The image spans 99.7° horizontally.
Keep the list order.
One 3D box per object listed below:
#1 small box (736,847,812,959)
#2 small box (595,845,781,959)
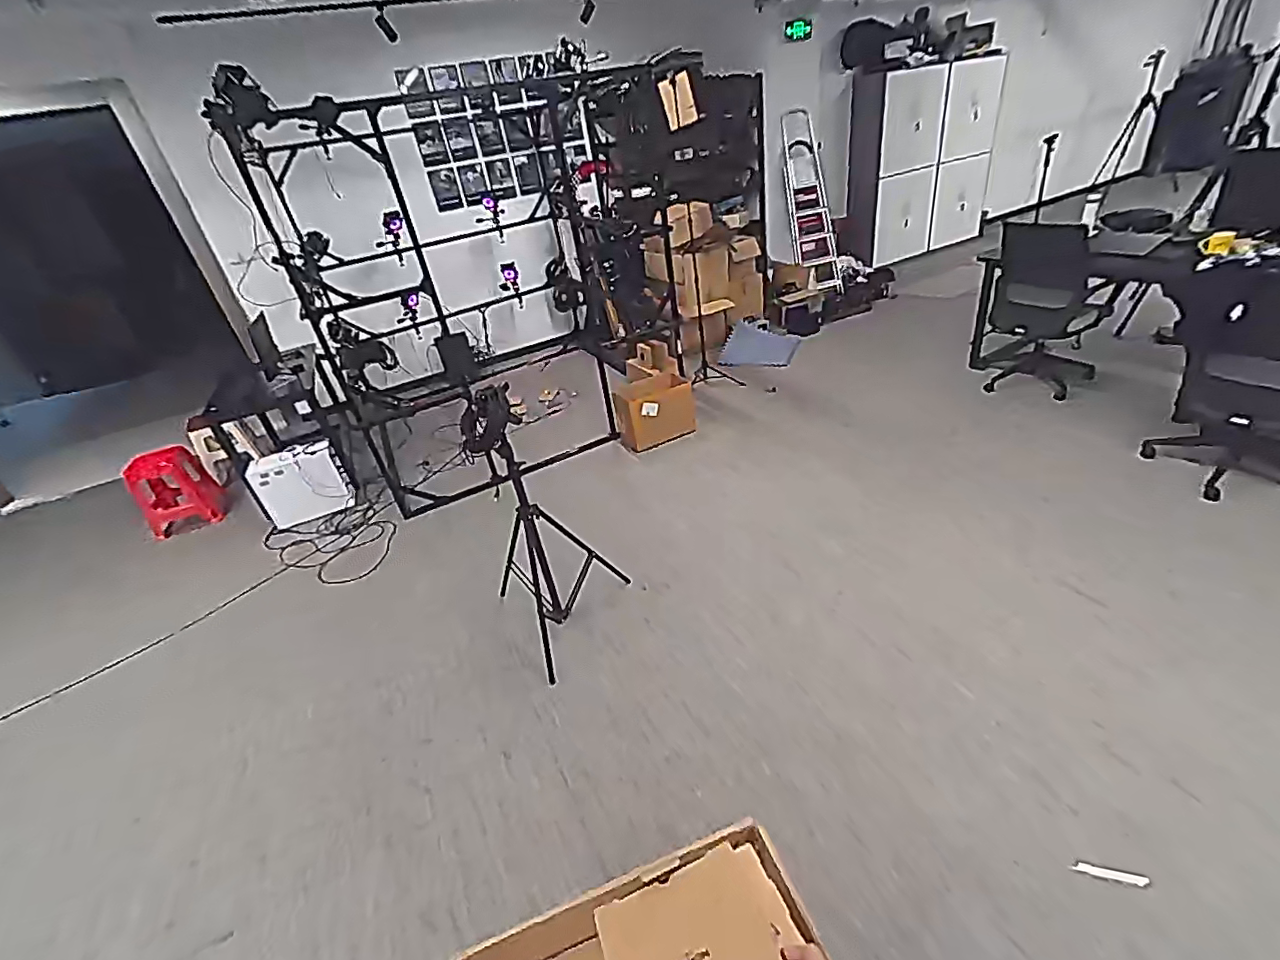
[{"bbox_3d":[0.138,0.698,0.793,0.179,0.176,0.168,-20,32,-13],"label":"small box"},{"bbox_3d":[0.065,0.540,0.580,0.168,0.176,0.179,-20,45,-11],"label":"small box"}]
